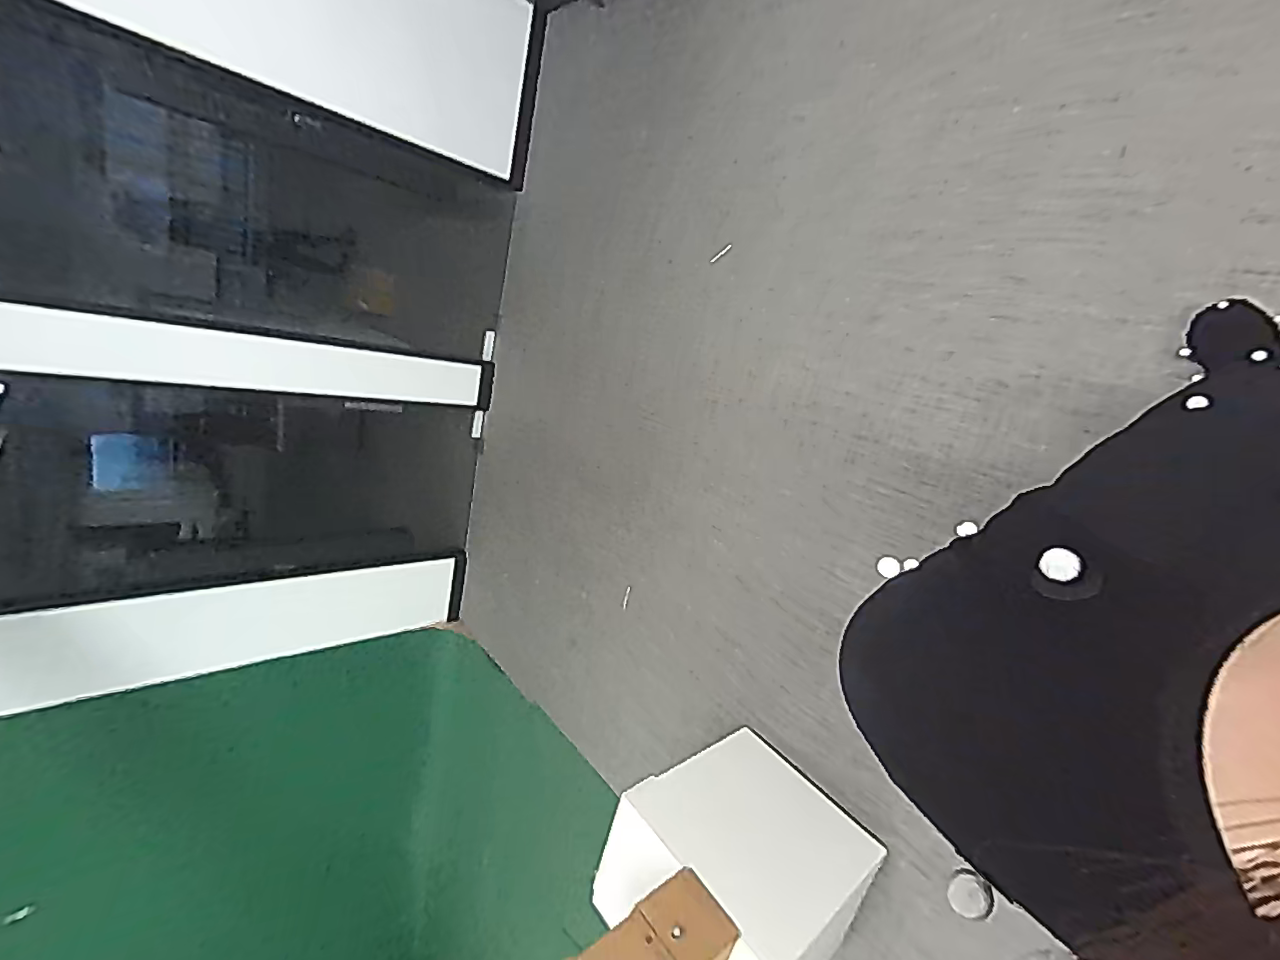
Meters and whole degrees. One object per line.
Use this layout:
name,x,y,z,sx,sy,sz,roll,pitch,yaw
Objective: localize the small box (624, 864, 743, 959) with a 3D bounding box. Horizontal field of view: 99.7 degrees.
small box,0.097,1.008,1.210,0.179,0.176,0.168,32,116,41
